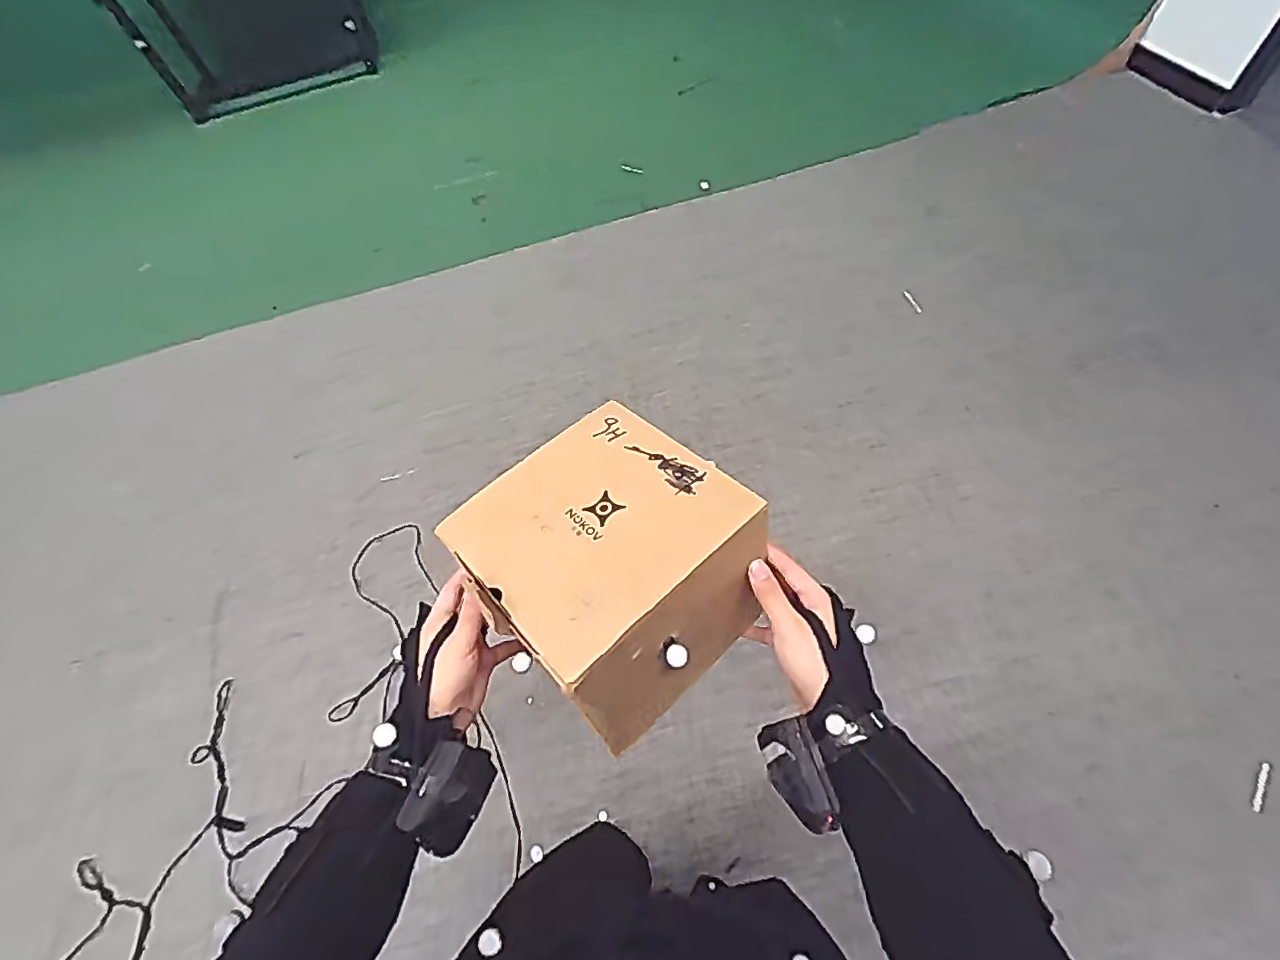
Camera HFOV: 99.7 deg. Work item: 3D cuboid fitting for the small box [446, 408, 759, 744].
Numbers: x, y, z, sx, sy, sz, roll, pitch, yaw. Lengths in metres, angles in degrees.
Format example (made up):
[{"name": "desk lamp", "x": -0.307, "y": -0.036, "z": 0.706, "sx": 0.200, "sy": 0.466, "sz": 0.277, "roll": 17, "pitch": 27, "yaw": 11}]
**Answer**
[{"name": "small box", "x": -0.017, "y": 0.080, "z": 0.446, "sx": 0.179, "sy": 0.176, "sz": 0.168, "roll": -39, "pitch": 55, "yaw": -20}]
